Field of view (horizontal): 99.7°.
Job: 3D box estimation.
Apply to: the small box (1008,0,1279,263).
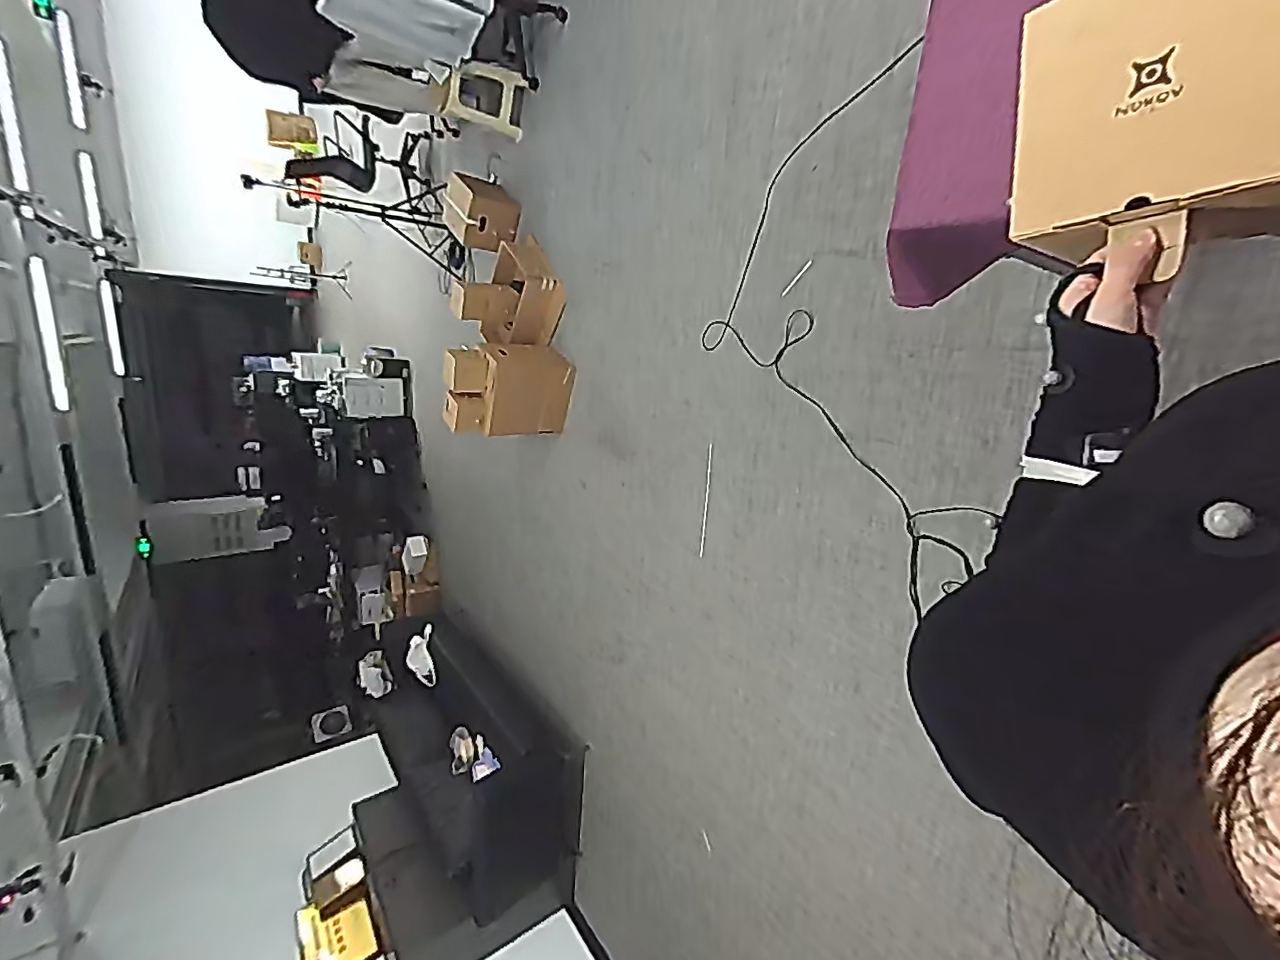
[{"bbox_3d":[0.435,-0.295,0.445,0.168,0.176,0.179,10,104,54],"label":"small box"}]
